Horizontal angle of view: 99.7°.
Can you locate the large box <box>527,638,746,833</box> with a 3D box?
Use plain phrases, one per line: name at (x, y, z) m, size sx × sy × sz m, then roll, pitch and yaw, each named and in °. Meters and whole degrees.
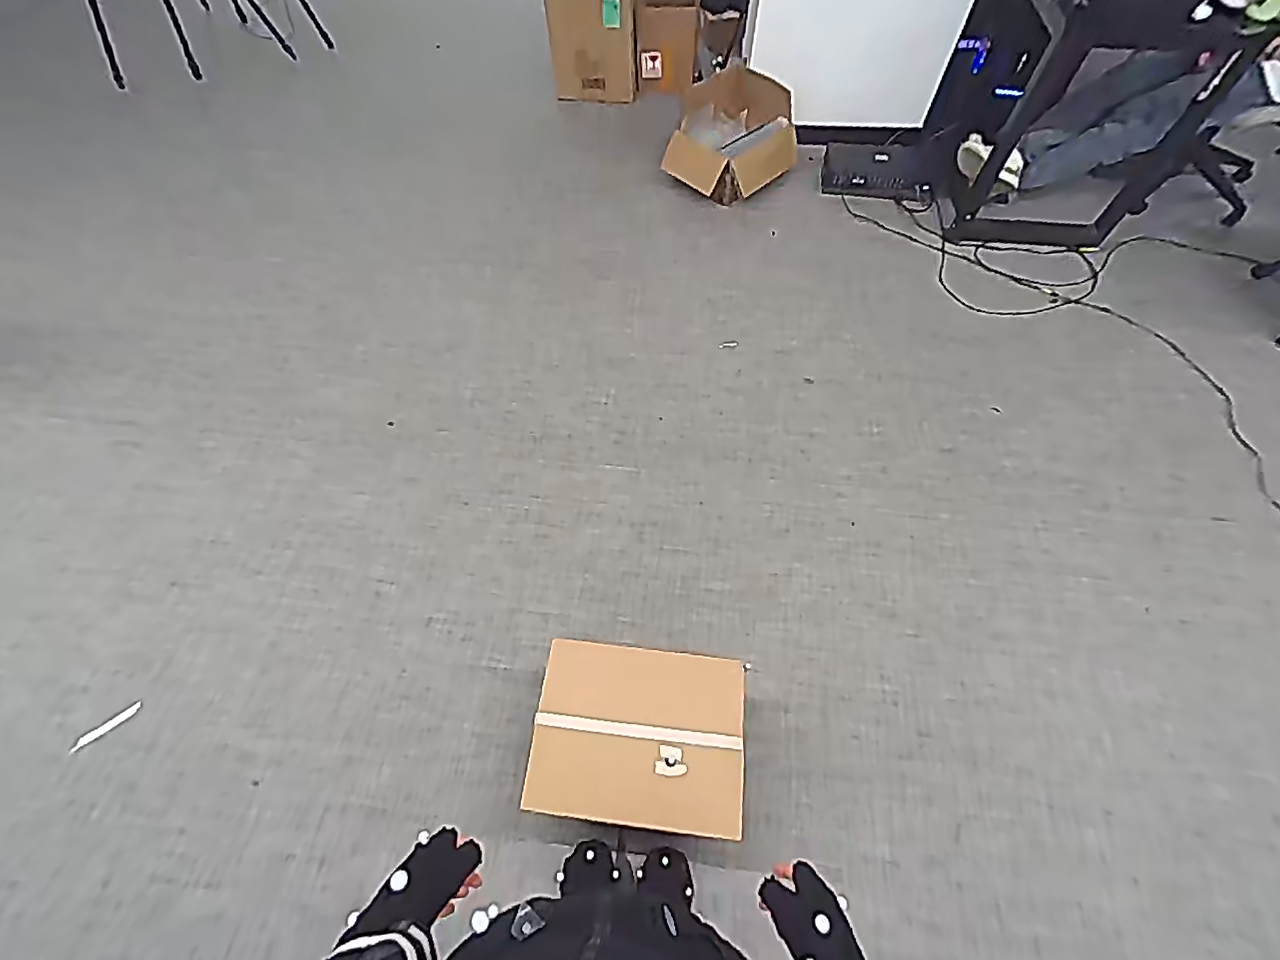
large box at (0.002, 0.555, 1.175) m, size 0.408 × 0.320 × 0.320 m, roll 6°, pitch 61°, yaw 3°
